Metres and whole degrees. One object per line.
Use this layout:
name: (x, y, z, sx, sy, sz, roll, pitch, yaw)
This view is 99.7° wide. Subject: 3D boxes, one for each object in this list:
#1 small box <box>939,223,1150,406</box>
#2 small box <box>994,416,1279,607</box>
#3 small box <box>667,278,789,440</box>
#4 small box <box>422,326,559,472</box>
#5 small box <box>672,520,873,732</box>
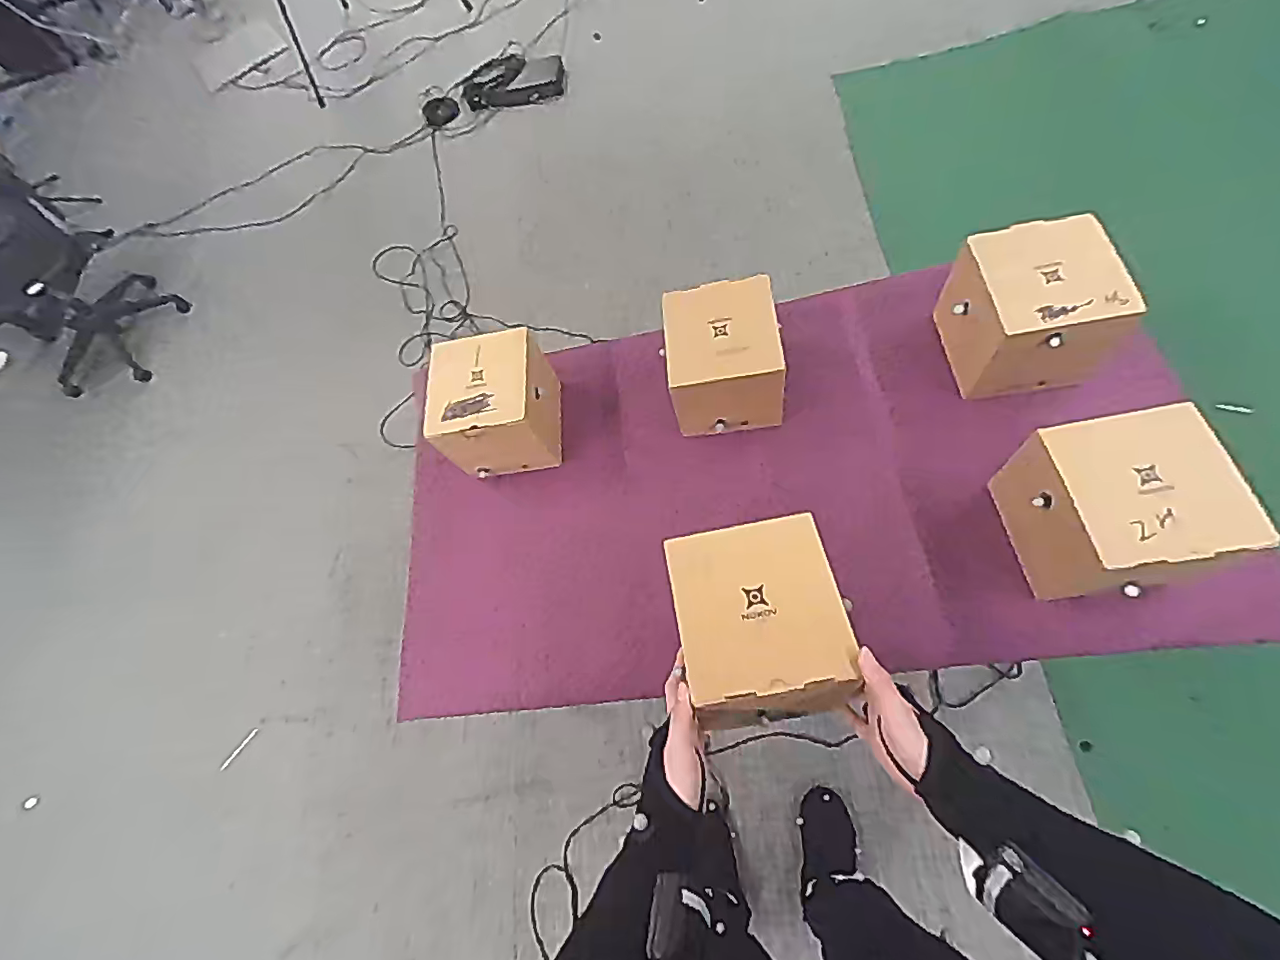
small box: (0.563, -0.232, 0.787, 0.168, 0.176, 0.179, -8, 66, 9)
small box: (0.575, 0.047, 0.664, 0.168, 0.176, 0.179, -10, 66, 8)
small box: (0.135, -0.183, 0.852, 0.168, 0.176, 0.179, -6, 68, 9)
small box: (-0.235, -0.122, 0.894, 0.168, 0.176, 0.179, -7, 67, 7)
small box: (0.133, 0.169, 0.608, 0.168, 0.176, 0.179, -11, 59, 2)
